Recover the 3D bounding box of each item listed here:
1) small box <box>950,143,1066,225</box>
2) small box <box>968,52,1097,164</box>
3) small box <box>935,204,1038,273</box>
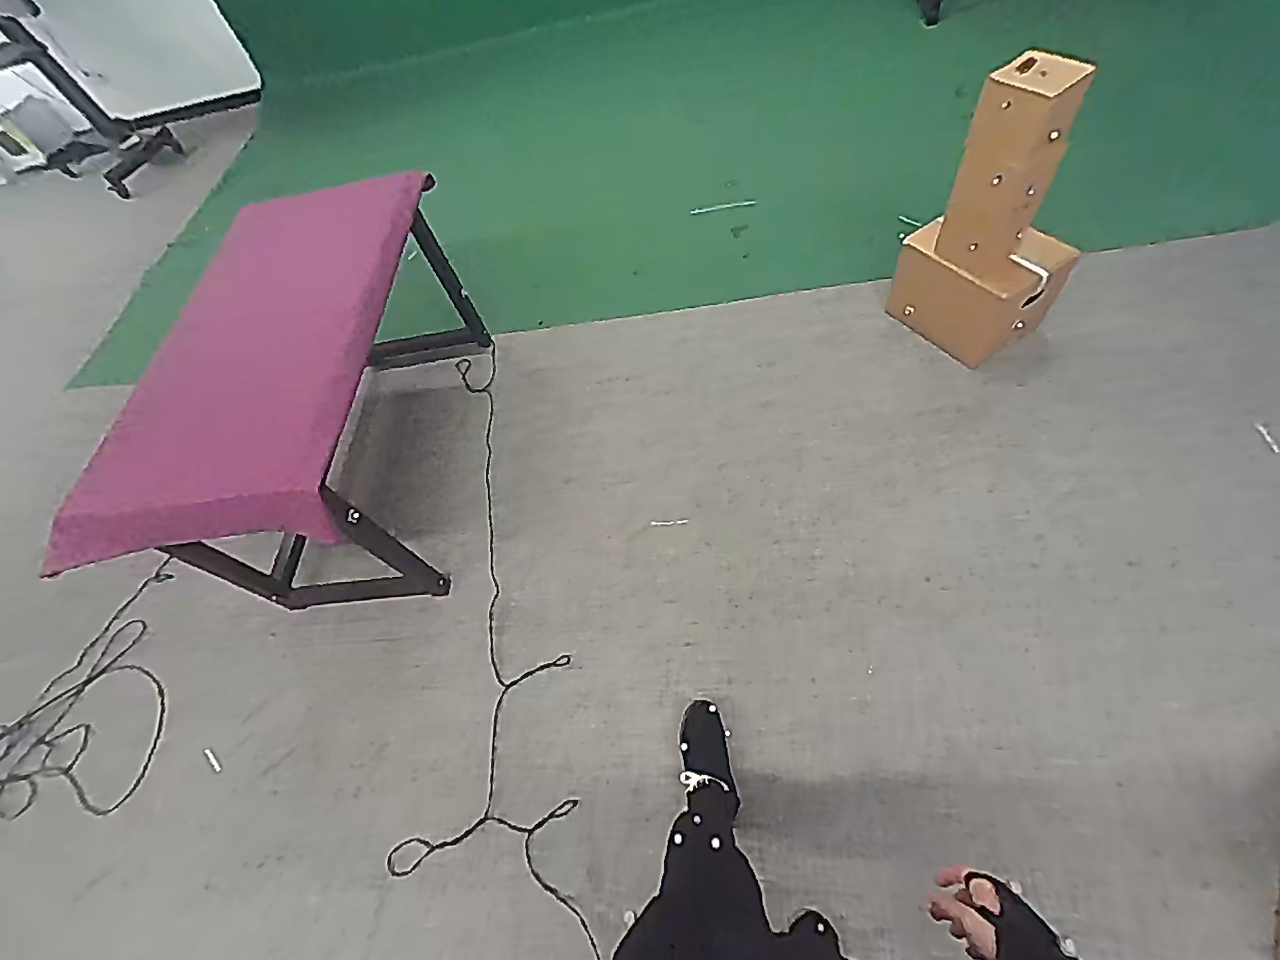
[{"bbox_3d":[1.015,-0.845,1.507,0.168,0.176,0.179,-30,58,-8],"label":"small box"},{"bbox_3d":[0.986,-0.944,1.379,0.168,0.176,0.179,-35,60,-11],"label":"small box"},{"bbox_3d":[1.044,-0.761,1.645,0.168,0.176,0.179,-32,58,-8],"label":"small box"}]
